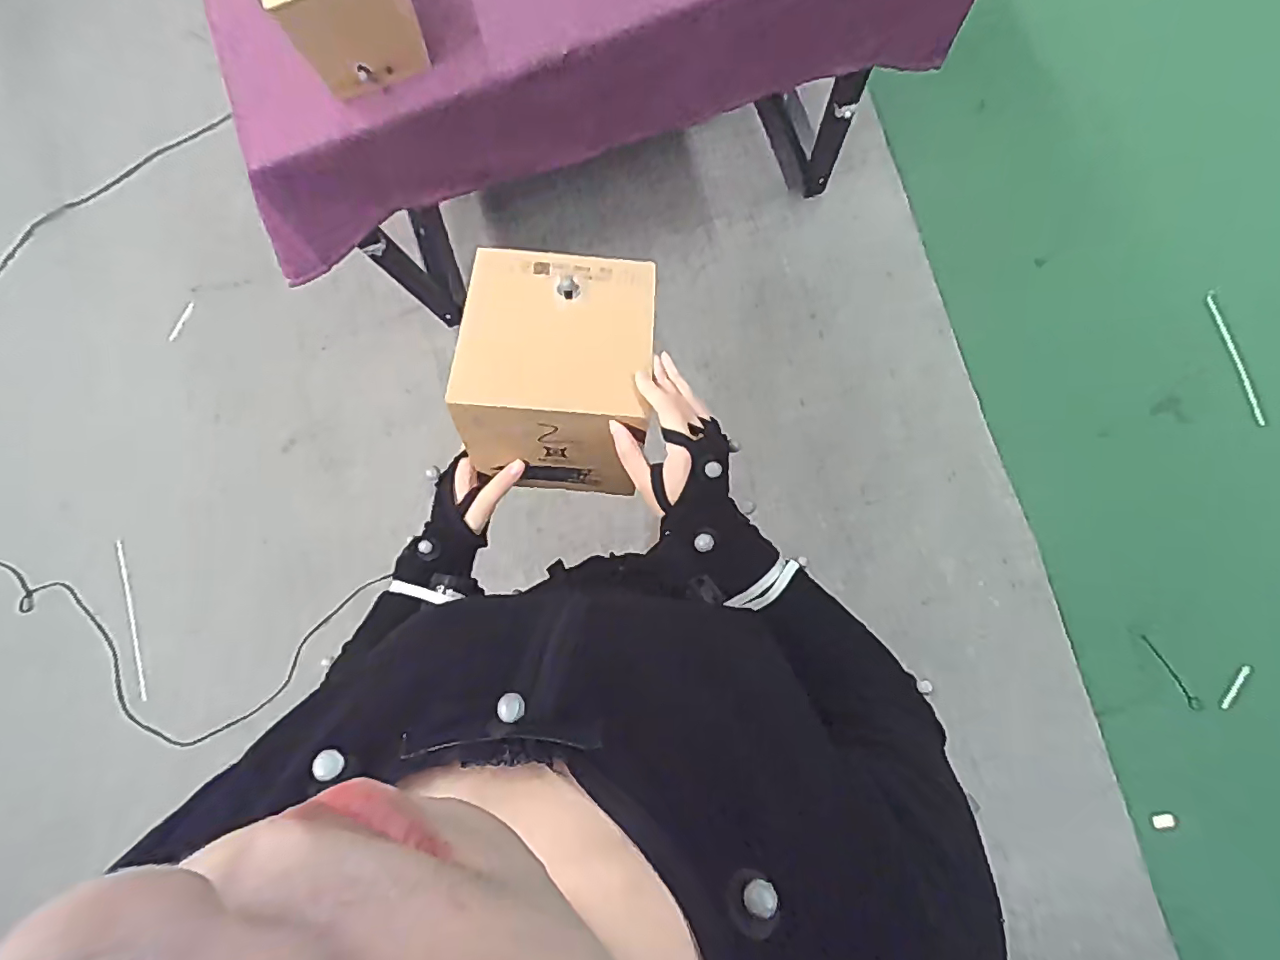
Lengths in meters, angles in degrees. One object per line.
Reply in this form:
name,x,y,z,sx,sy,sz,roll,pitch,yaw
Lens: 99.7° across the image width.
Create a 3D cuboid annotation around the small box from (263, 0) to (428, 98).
small box,-0.452,-0.741,0.823,0.168,0.176,0.179,-17,83,4
